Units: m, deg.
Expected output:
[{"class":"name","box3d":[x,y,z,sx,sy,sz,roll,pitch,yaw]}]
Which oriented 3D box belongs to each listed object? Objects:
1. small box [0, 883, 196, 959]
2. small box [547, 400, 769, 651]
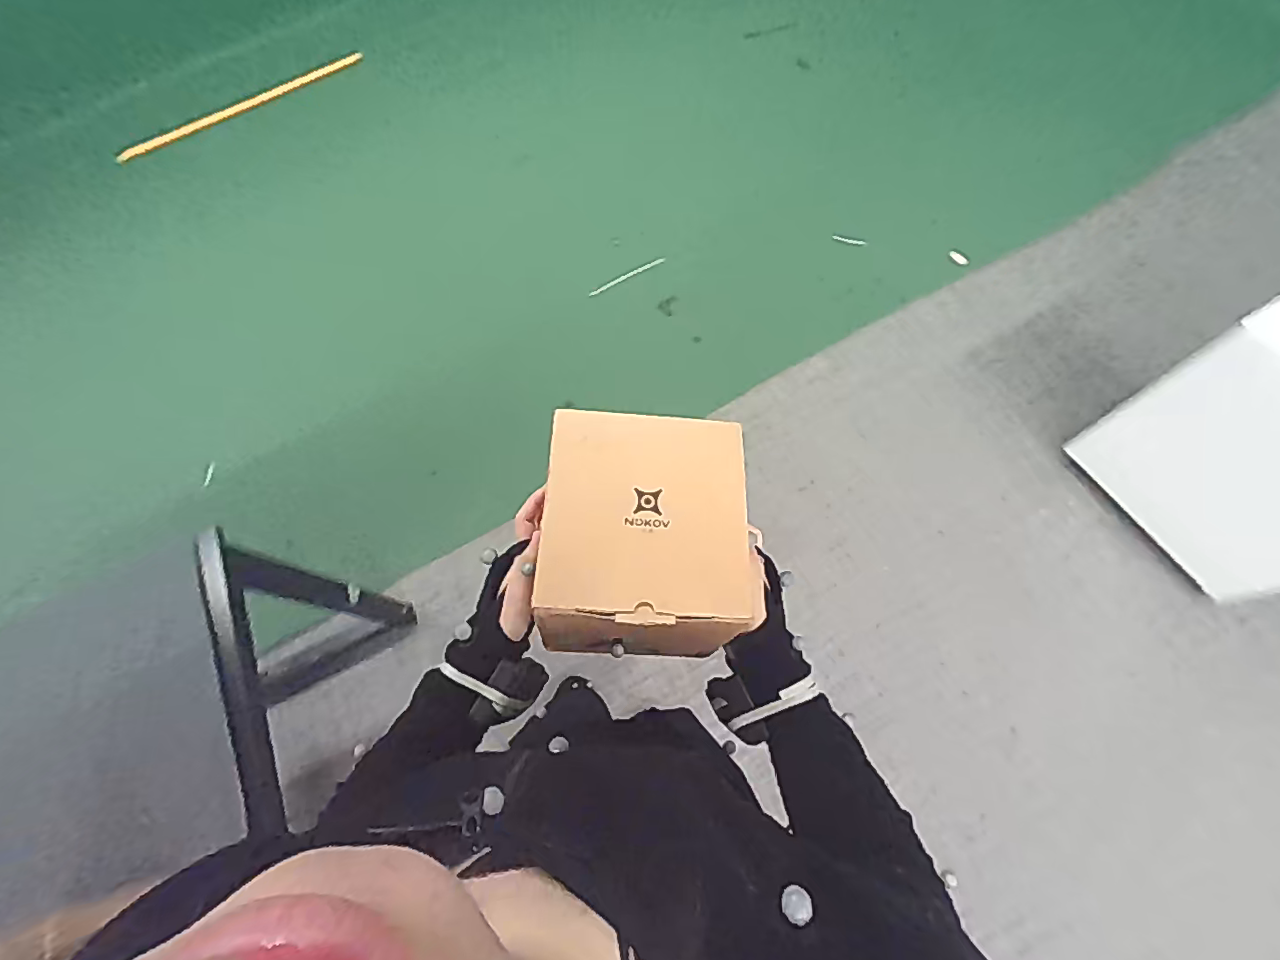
[{"class":"small box","box3d":[-0.662,0.611,0.618,0.179,0.176,0.168,-26,68,-5]},{"class":"small box","box3d":[0.009,0.051,0.498,0.168,0.176,0.179,4,64,-4]}]
